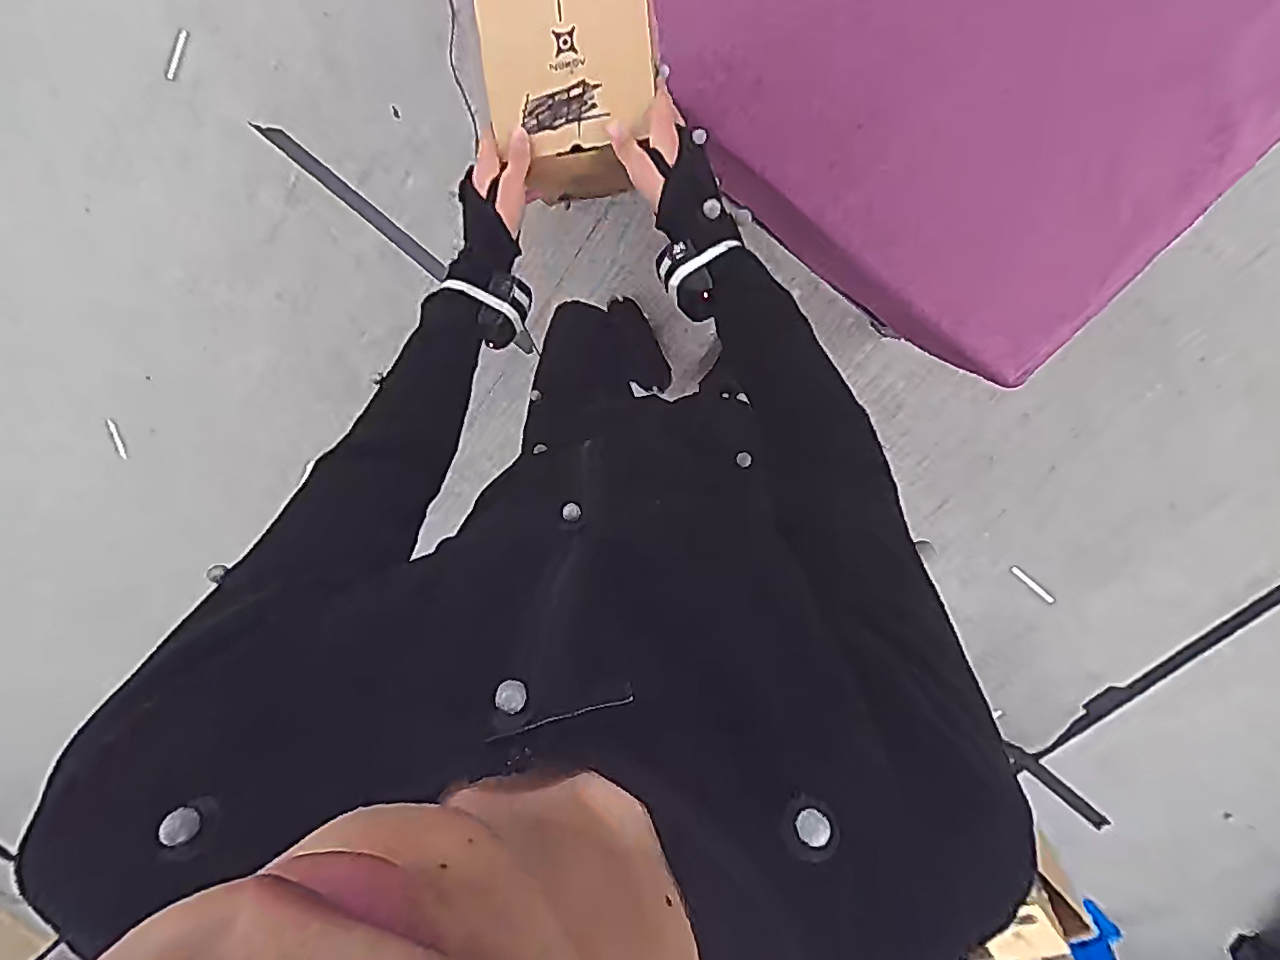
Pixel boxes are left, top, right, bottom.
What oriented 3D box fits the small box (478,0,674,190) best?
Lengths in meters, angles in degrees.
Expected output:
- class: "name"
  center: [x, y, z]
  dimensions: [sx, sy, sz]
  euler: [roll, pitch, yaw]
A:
- class: "small box"
  center: [-0.056, -0.429, 0.580]
  dimensions: [0.168, 0.176, 0.179]
  euler: [-4, 103, 8]
